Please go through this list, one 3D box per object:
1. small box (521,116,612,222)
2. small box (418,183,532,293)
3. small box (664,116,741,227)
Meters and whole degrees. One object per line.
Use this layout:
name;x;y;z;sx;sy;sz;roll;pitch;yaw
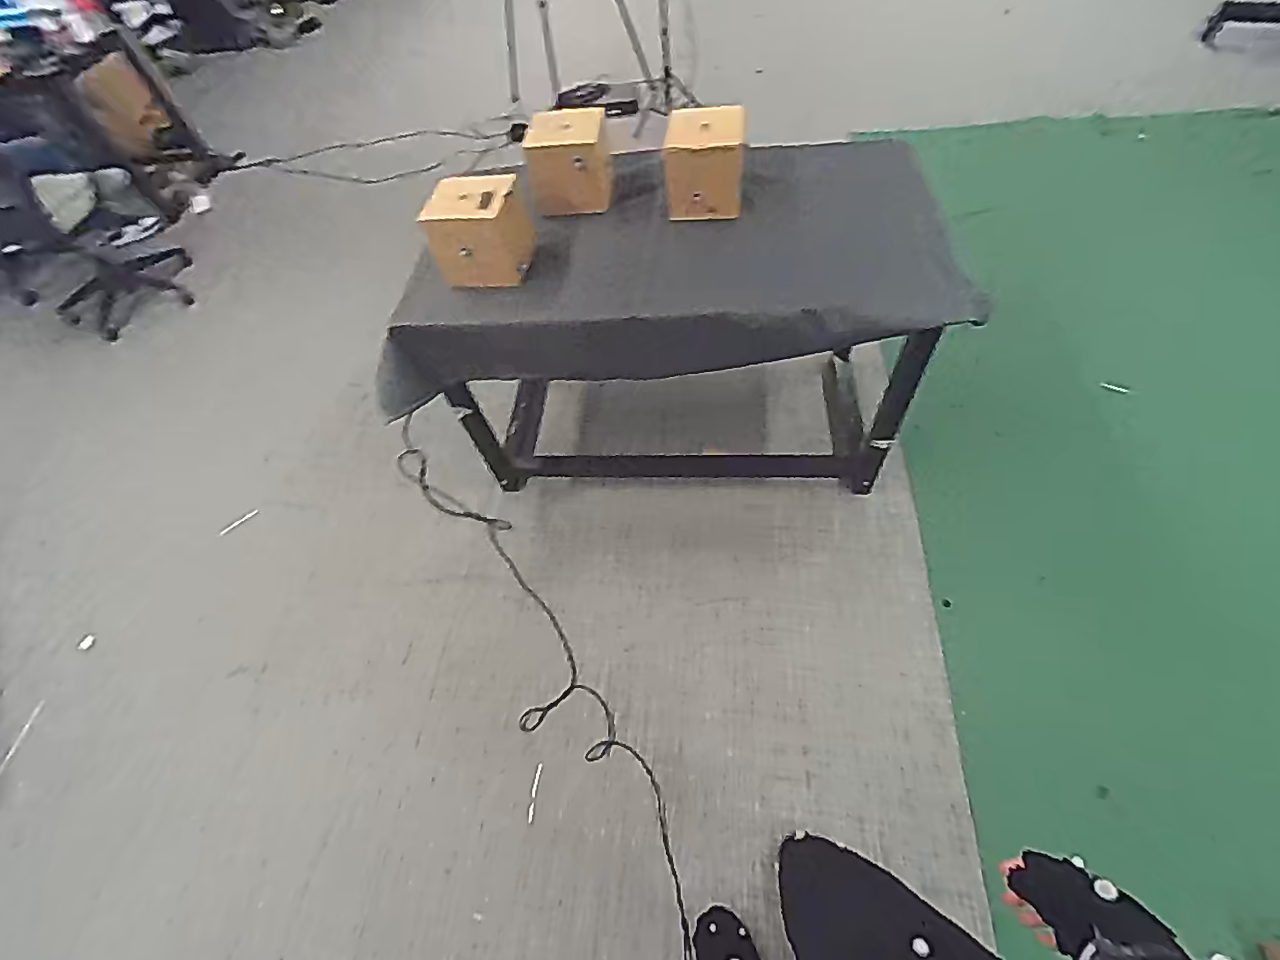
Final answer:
small box;-0.171;-0.762;1.334;0.179;0.176;0.168;1;57;8
small box;-0.358;-0.539;1.214;0.179;0.176;0.168;3;57;10
small box;0.148;-0.722;1.271;0.168;0.176;0.179;2;58;8
